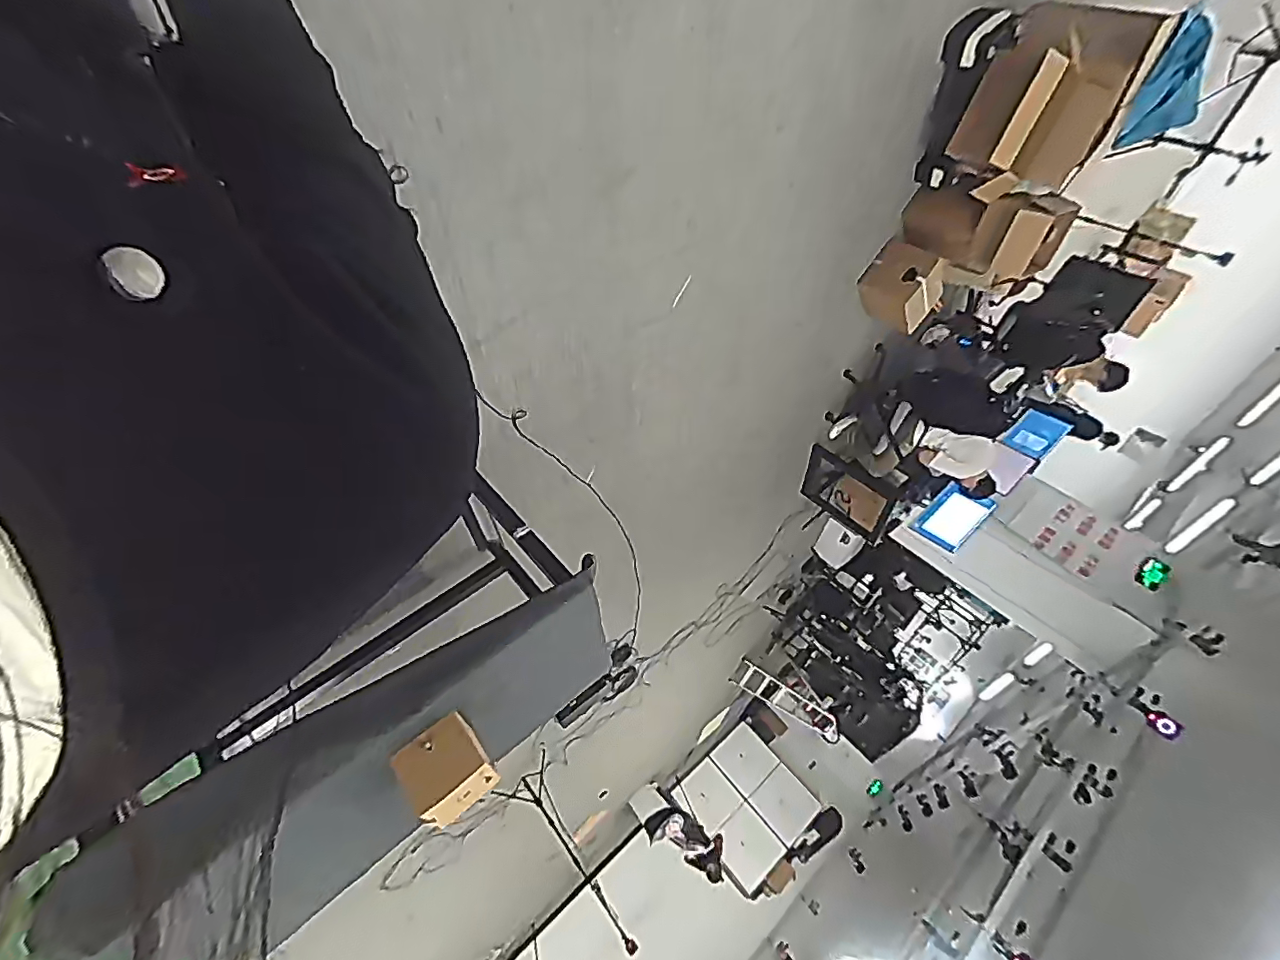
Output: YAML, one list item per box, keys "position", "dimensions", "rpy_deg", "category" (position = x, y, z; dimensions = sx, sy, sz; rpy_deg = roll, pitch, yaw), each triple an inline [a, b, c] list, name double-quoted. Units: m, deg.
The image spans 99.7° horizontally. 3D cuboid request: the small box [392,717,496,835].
- position: [-0.493, 0.734, 1.348]
  dimensions: [0.179, 0.176, 0.168]
  rpy_deg: [-33, 146, -24]
  category: "small box"
